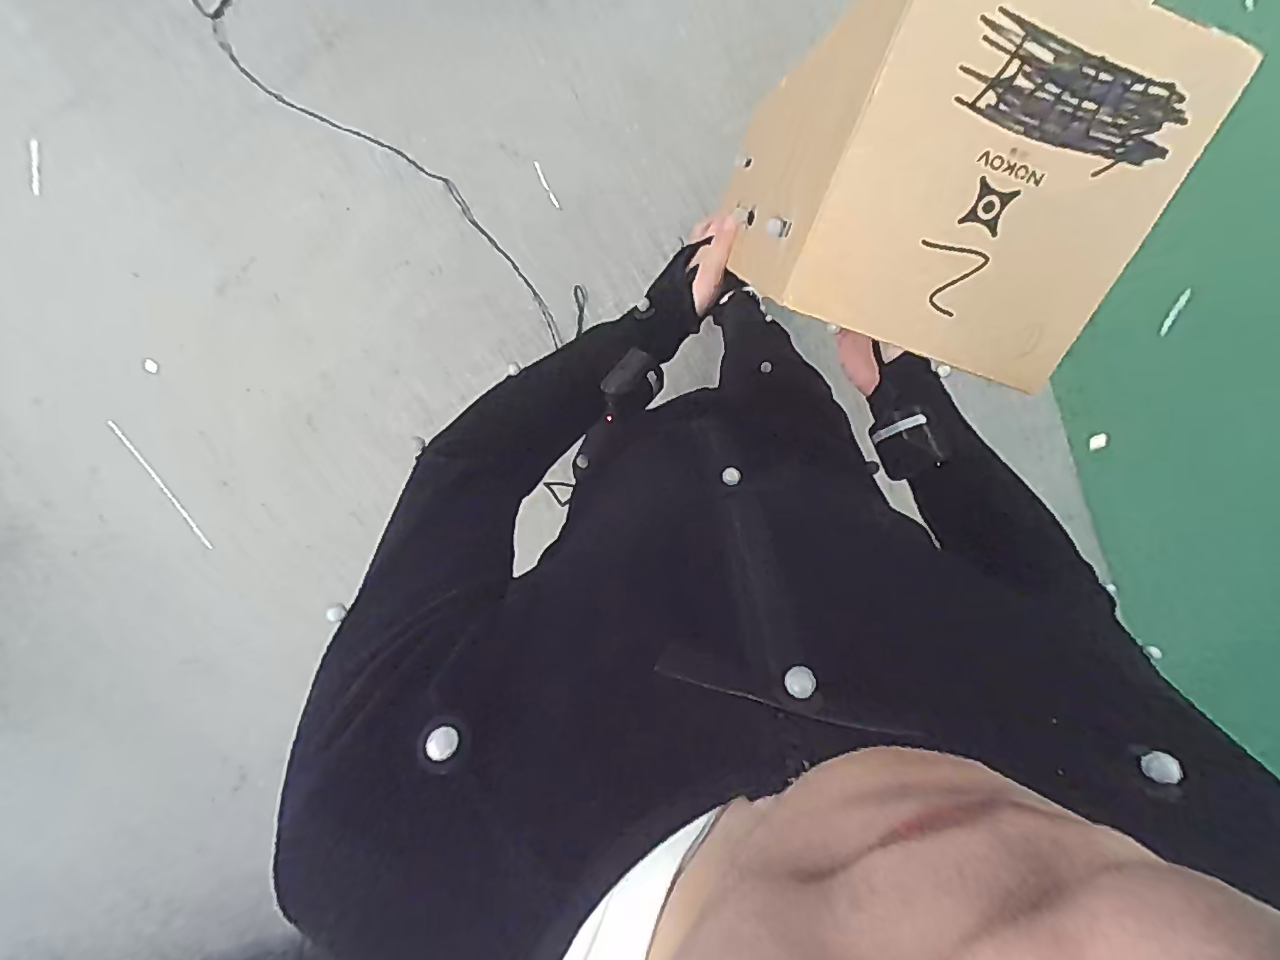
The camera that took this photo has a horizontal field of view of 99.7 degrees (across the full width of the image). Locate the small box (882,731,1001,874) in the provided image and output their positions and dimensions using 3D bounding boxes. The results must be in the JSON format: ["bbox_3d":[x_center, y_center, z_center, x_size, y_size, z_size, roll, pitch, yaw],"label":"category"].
[{"bbox_3d":[0.620,0.640,1.089,0.168,0.176,0.179,-28,104,9],"label":"small box"}]

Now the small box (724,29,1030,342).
[{"bbox_3d":[0.184,-0.248,0.490,0.168,0.176,0.179,17,114,-7],"label":"small box"}]
